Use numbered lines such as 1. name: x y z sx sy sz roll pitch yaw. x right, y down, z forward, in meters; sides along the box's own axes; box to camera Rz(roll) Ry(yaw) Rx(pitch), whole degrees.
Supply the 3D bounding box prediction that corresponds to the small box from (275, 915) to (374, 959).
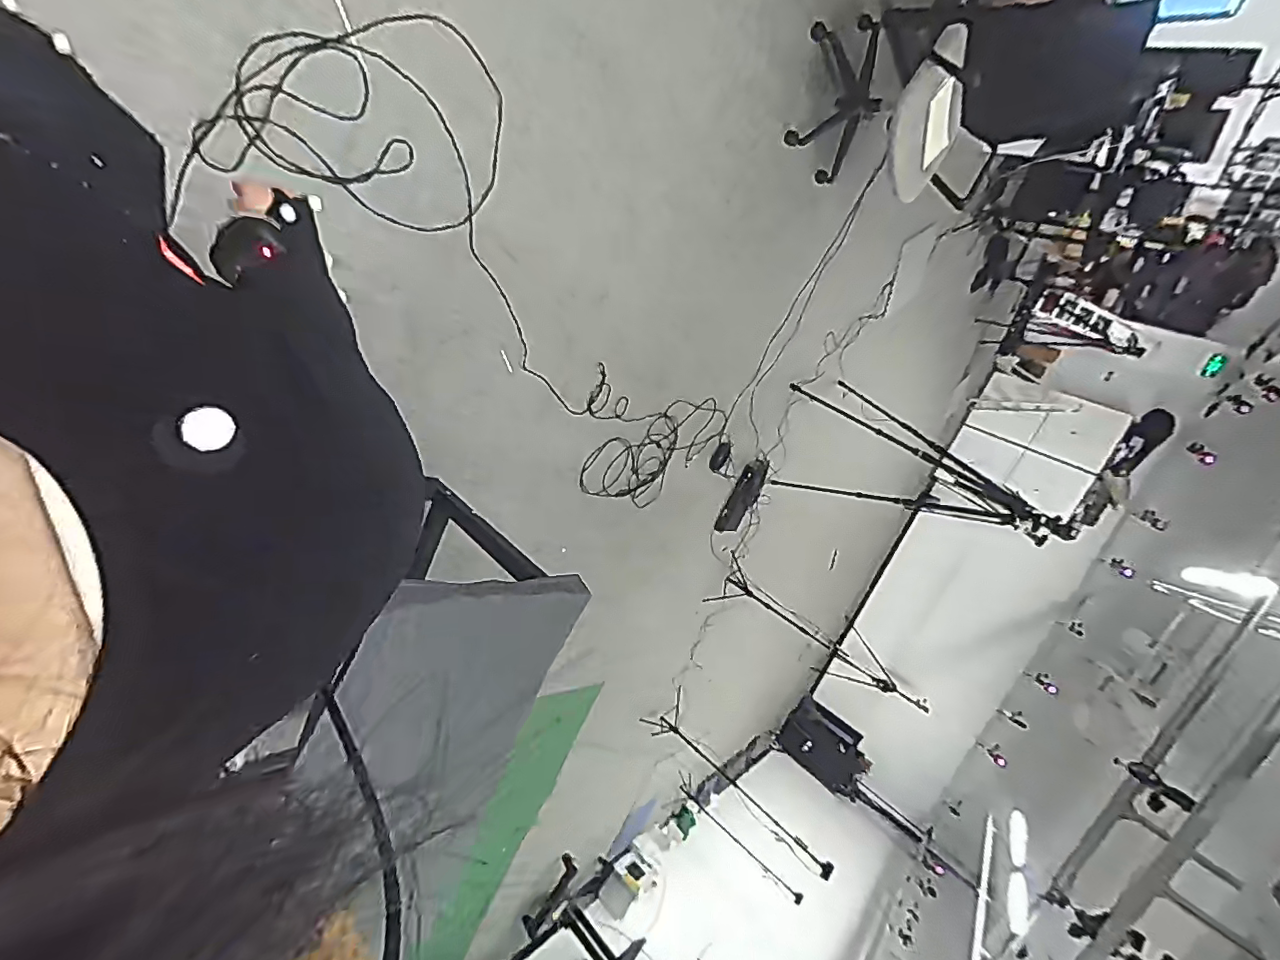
1. small box: -0.721 1.133 1.194 0.179 0.176 0.168 8 108 -58
